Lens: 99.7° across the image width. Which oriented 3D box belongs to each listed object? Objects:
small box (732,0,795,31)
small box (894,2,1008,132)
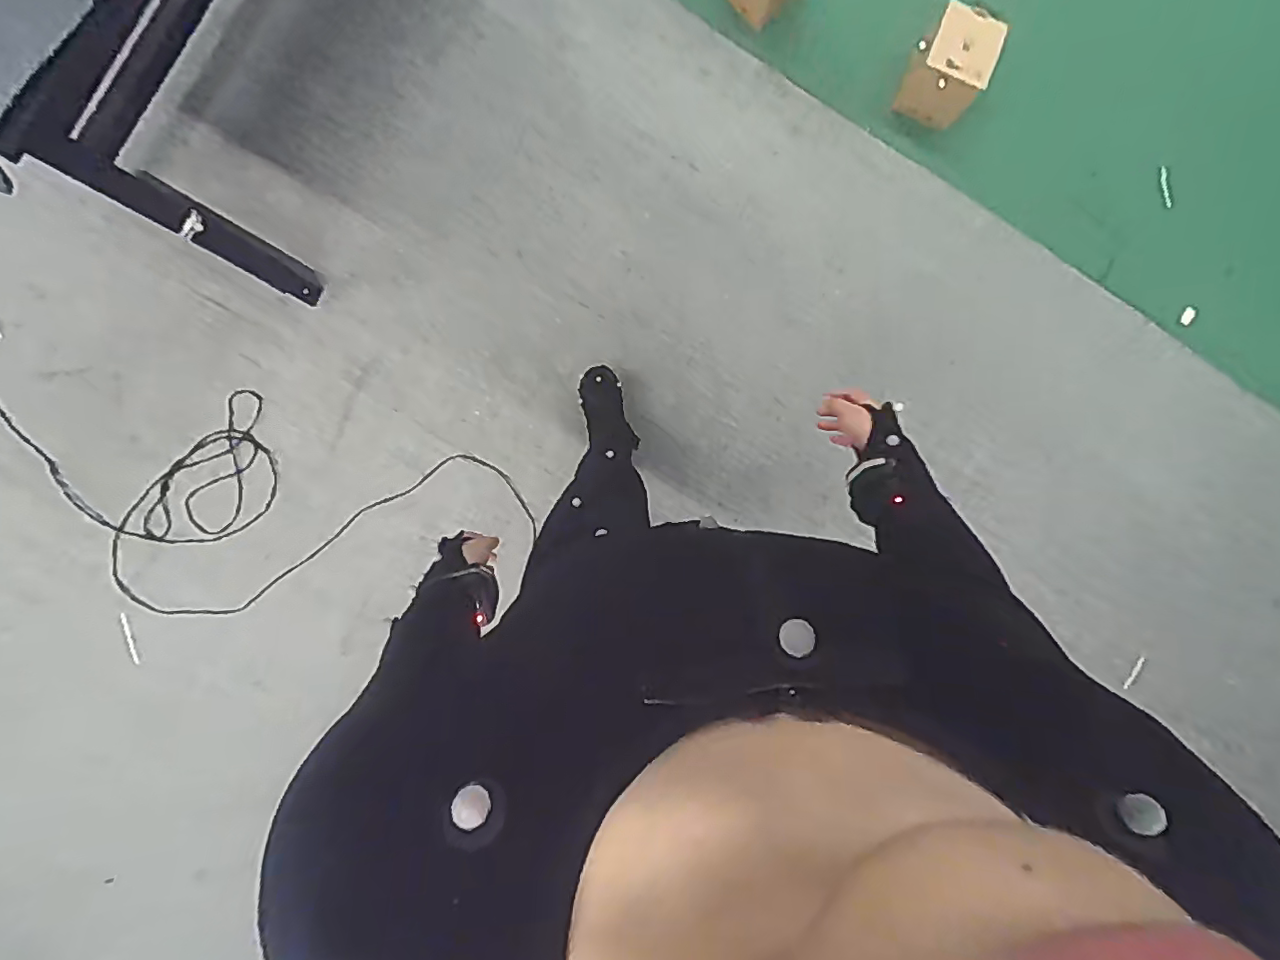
[{"bbox_3d":[0.330,-1.320,1.381,0.179,0.176,0.168,-42,93,-1],"label":"small box"},{"bbox_3d":[0.801,-1.066,1.411,0.168,0.176,0.179,22,89,-4],"label":"small box"}]
